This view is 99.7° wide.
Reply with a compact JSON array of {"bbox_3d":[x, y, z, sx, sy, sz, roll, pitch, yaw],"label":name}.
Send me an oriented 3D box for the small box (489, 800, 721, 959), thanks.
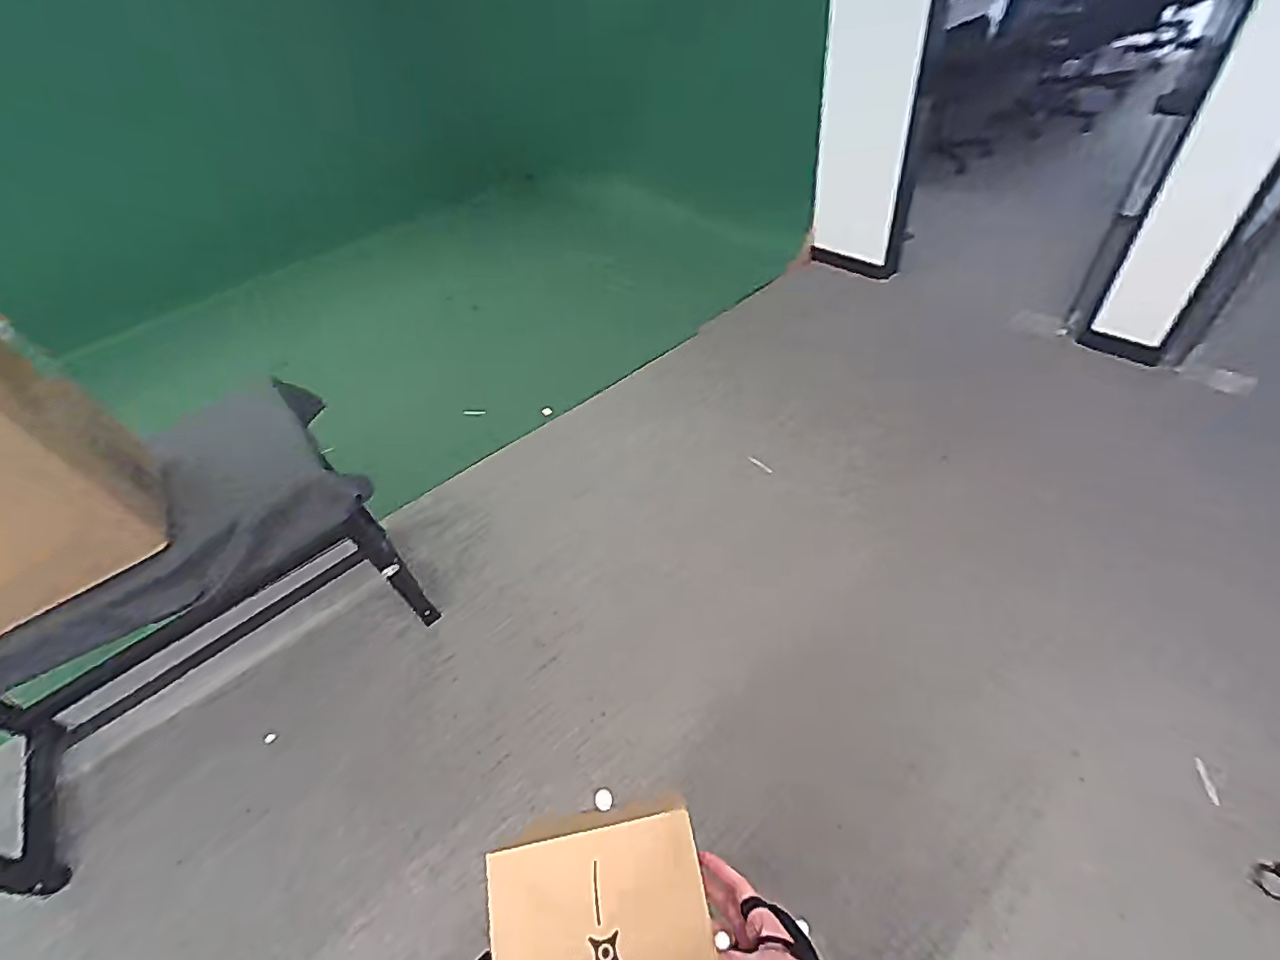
[{"bbox_3d":[-0.020,0.395,0.461,0.168,0.176,0.179,-12,63,-5],"label":"small box"}]
